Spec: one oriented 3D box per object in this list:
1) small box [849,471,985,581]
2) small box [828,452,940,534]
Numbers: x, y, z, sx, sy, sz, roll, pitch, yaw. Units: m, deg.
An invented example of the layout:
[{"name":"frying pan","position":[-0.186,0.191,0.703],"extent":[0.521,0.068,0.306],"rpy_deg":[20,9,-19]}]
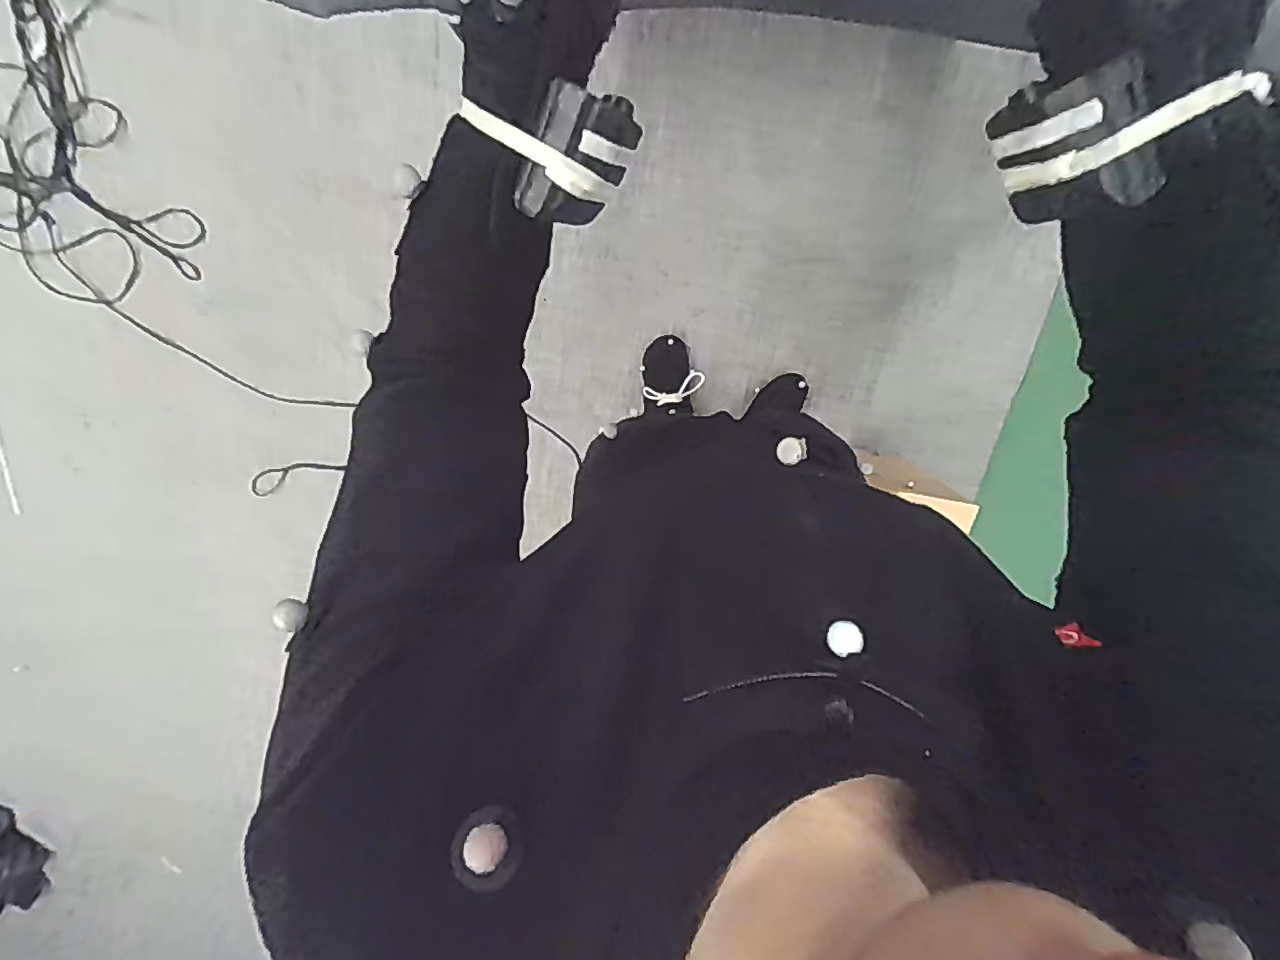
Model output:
[{"name":"small box","position":[0.578,0.091,1.153],"extent":[0.179,0.176,0.168],"rpy_deg":[10,109,-3]},{"name":"small box","position":[0.578,0.037,1.308],"extent":[0.179,0.176,0.168],"rpy_deg":[9,108,-1]}]
